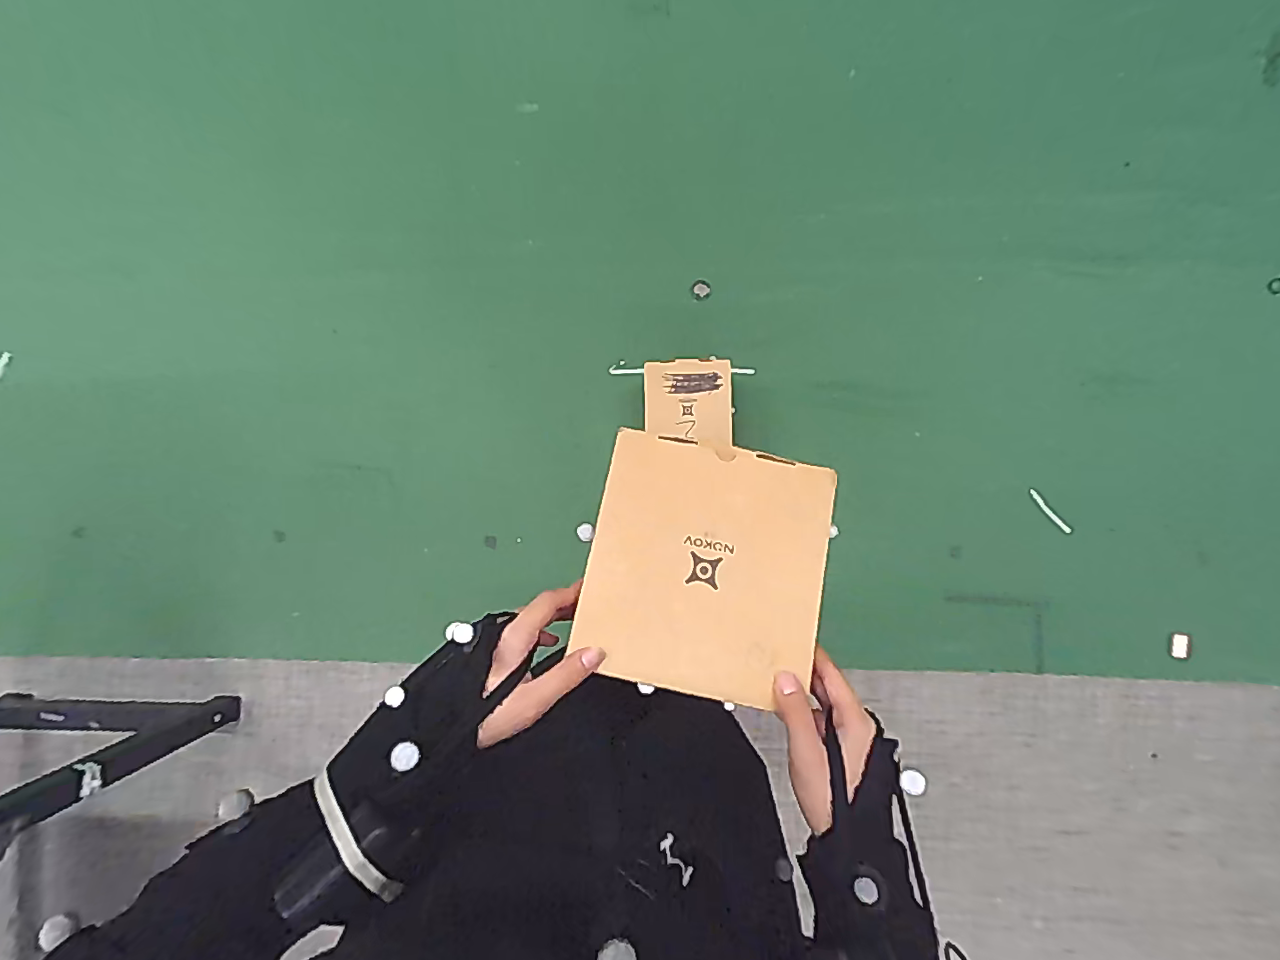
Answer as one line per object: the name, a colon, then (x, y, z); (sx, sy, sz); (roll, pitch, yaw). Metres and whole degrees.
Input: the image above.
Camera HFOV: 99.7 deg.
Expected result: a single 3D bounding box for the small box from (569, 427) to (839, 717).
small box: (0.050, 0.078, 0.454); (0.168, 0.176, 0.179); (11, 75, 4)
